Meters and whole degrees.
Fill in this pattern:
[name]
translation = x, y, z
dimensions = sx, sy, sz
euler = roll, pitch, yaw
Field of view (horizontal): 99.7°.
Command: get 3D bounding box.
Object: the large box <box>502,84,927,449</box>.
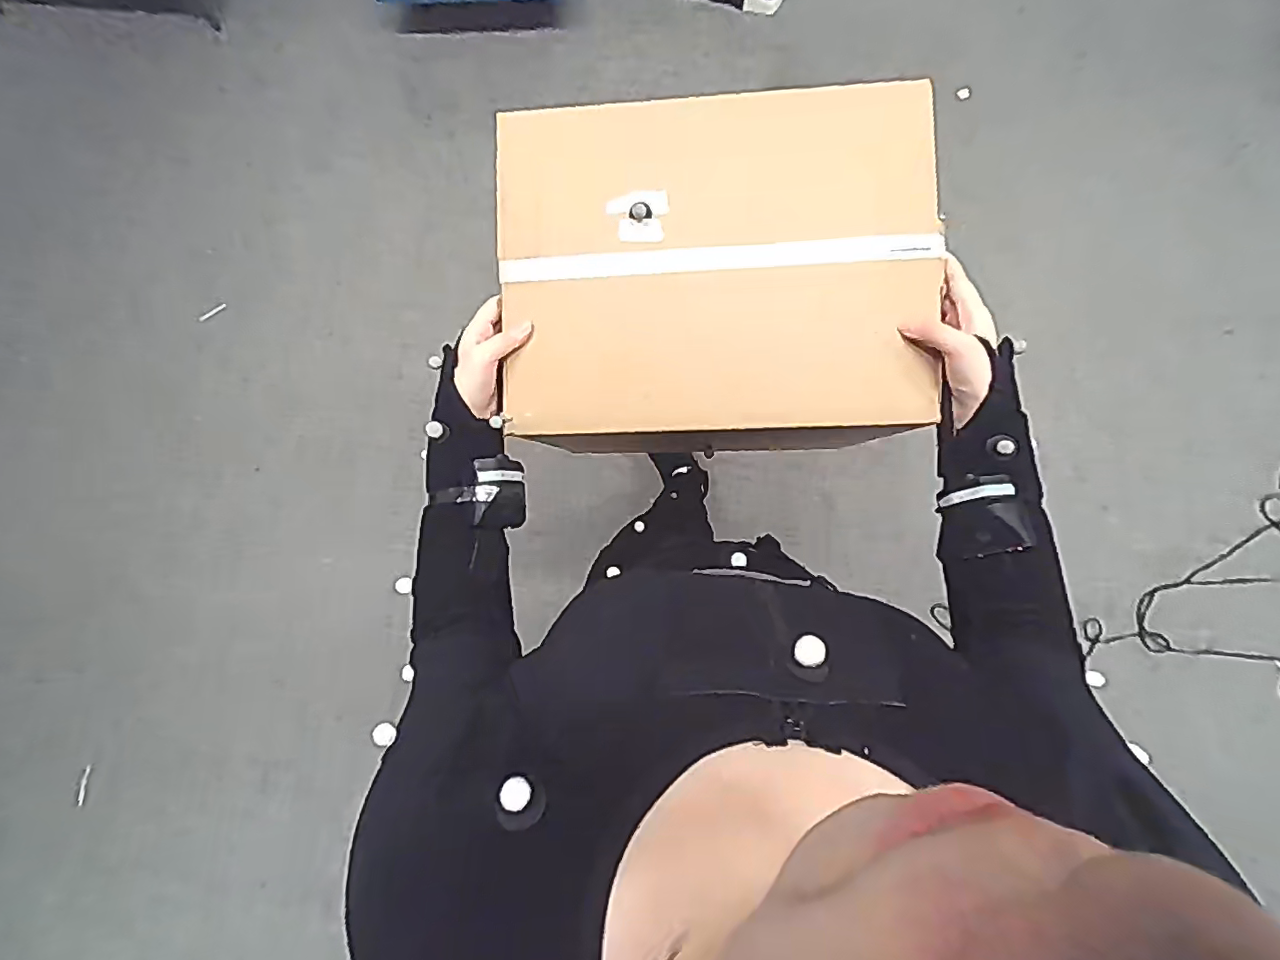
[large box]
translation = 0.081, -0.206, 0.668
dimensions = 0.408, 0.320, 0.320
euler = -2, 89, 7
